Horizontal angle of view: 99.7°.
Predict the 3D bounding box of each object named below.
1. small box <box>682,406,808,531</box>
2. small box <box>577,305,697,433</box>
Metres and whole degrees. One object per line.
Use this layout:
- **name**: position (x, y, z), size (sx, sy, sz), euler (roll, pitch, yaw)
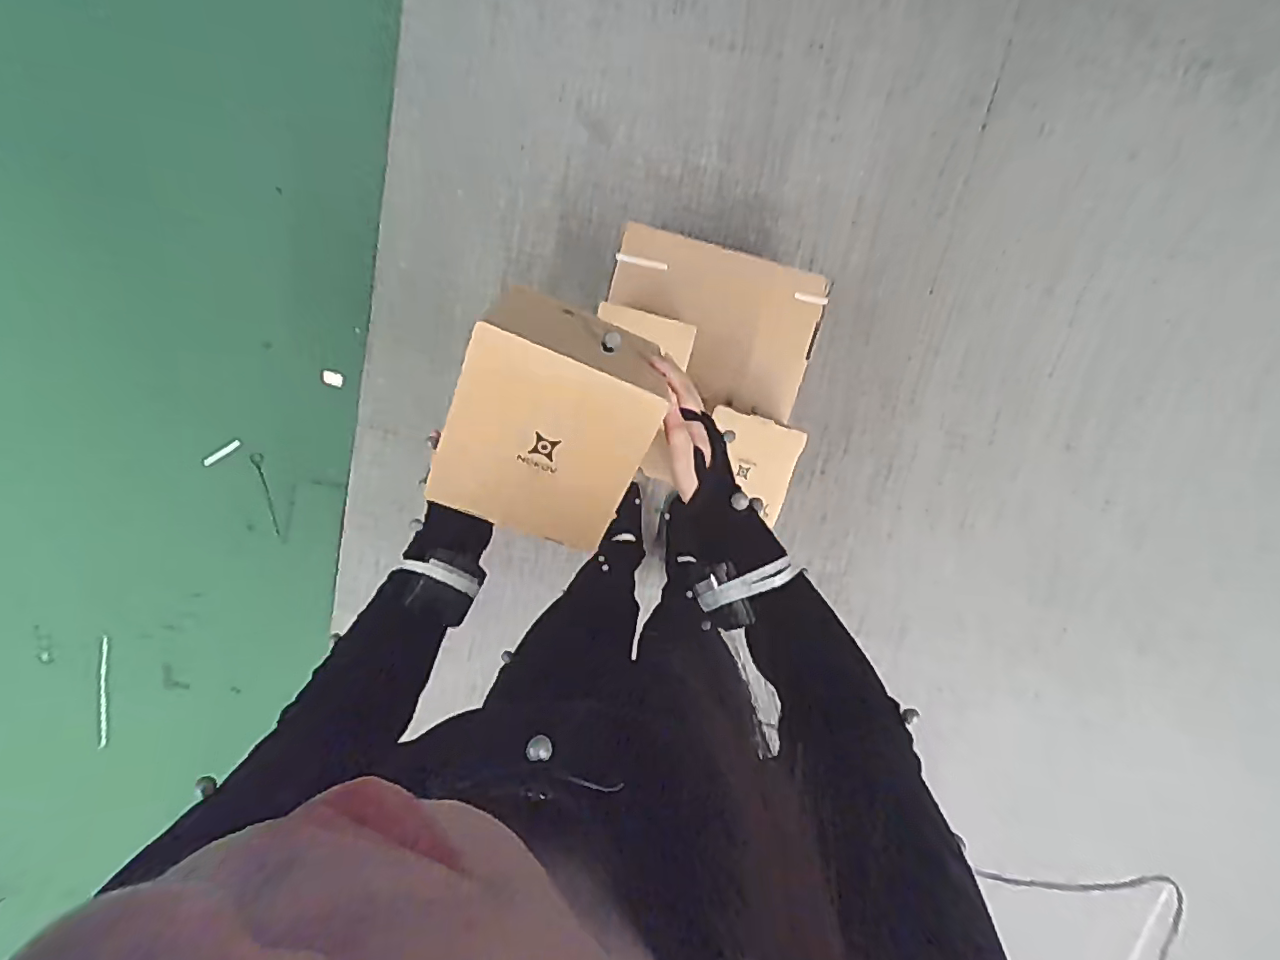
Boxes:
- **small box**: position (0.180, -0.029, 0.987), size (0.168, 0.176, 0.179), euler (18, 99, -1)
- **small box**: position (-0.002, -0.193, 0.969), size (0.168, 0.176, 0.179), euler (16, 99, -1)
